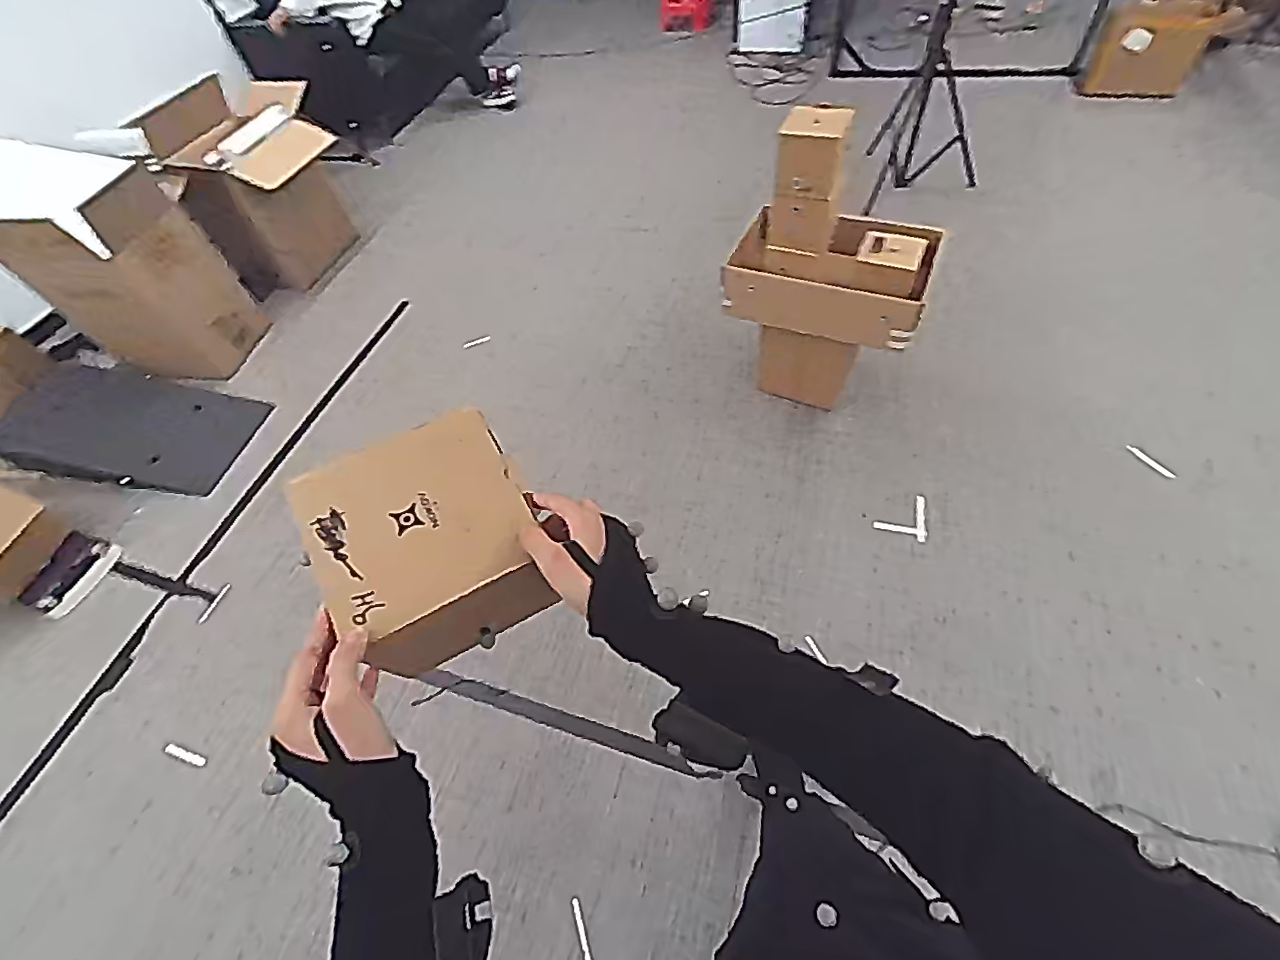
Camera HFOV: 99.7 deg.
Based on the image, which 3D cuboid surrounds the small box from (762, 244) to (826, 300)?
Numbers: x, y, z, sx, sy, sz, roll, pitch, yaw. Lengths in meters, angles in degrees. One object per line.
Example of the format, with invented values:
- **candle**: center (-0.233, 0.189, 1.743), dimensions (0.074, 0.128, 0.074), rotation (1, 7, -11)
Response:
- **small box**: center (0.509, -0.720, 1.783), dimensions (0.168, 0.176, 0.179), rotation (18, 59, 18)

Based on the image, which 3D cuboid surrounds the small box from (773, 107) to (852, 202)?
- **small box**: center (0.479, -0.914, 1.520), dimensions (0.168, 0.176, 0.179), rotation (17, 58, 19)

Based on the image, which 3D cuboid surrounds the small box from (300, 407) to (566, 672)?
- **small box**: center (-0.183, 0.064, 0.524), dimensions (0.179, 0.176, 0.168), rotation (-25, 68, -16)

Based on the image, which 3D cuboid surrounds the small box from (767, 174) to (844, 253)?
- **small box**: center (0.500, -0.819, 1.652), dimensions (0.179, 0.176, 0.168), rotation (19, 59, 19)
